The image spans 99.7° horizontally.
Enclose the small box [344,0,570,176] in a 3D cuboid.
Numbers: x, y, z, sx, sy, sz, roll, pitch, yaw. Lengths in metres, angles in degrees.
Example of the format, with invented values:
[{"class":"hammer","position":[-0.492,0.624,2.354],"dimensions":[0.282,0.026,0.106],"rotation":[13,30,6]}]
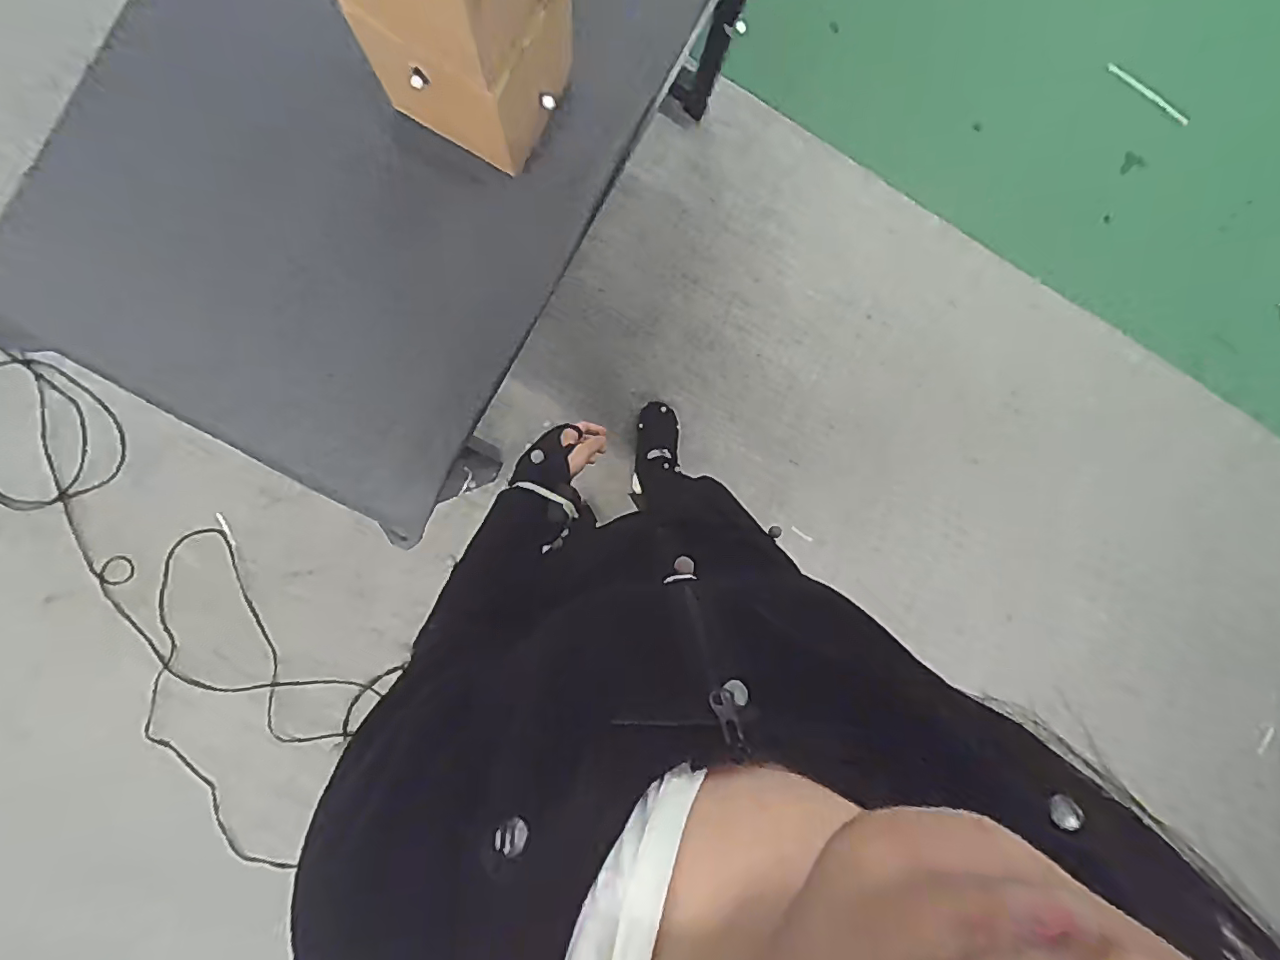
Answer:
[{"class":"small box","position":[-0.195,-0.501,0.634],"dimensions":[0.179,0.176,0.168],"rotation":[28,90,-7]}]
